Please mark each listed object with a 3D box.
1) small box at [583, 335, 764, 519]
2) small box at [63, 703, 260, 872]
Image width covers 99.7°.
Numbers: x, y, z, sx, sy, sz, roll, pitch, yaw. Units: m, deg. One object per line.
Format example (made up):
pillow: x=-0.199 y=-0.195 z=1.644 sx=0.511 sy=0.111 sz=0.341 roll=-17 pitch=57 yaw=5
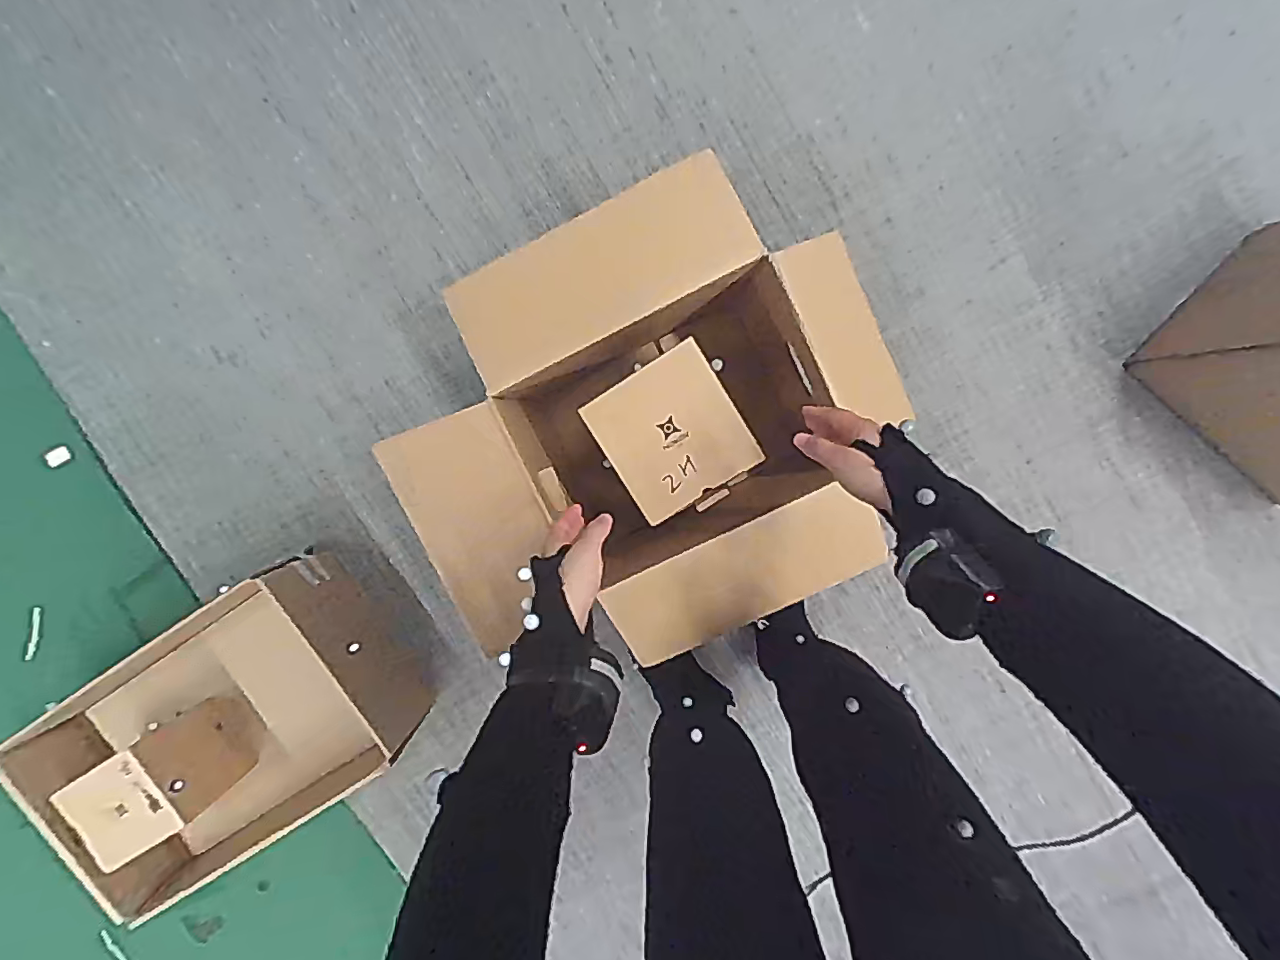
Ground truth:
small box: x=0.045 y=-0.071 z=0.746 sx=0.168 sy=0.176 sz=0.179 roll=-32 pitch=94 yaw=8
small box: x=-0.857 y=0.550 z=0.988 sx=0.179 sy=0.176 sz=0.168 roll=-32 pitch=93 yaw=5
